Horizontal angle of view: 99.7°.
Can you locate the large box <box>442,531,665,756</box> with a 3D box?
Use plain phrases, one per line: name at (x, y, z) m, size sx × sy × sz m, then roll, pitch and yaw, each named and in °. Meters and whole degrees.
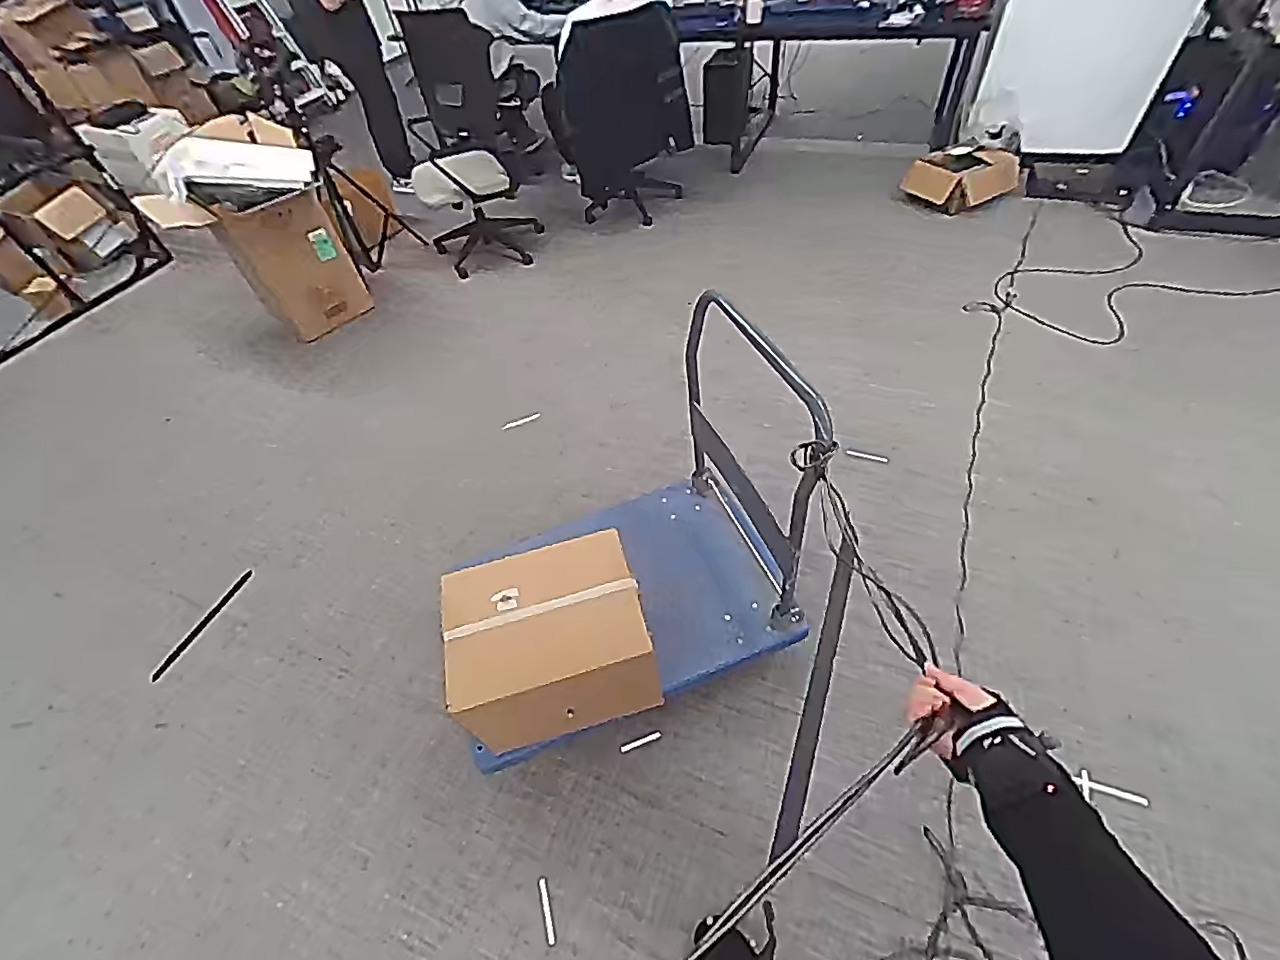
large box at (-0.187, 0.373, 1.226) m, size 0.408 × 0.320 × 0.320 m, roll -16°, pitch 49°, yaw -5°
